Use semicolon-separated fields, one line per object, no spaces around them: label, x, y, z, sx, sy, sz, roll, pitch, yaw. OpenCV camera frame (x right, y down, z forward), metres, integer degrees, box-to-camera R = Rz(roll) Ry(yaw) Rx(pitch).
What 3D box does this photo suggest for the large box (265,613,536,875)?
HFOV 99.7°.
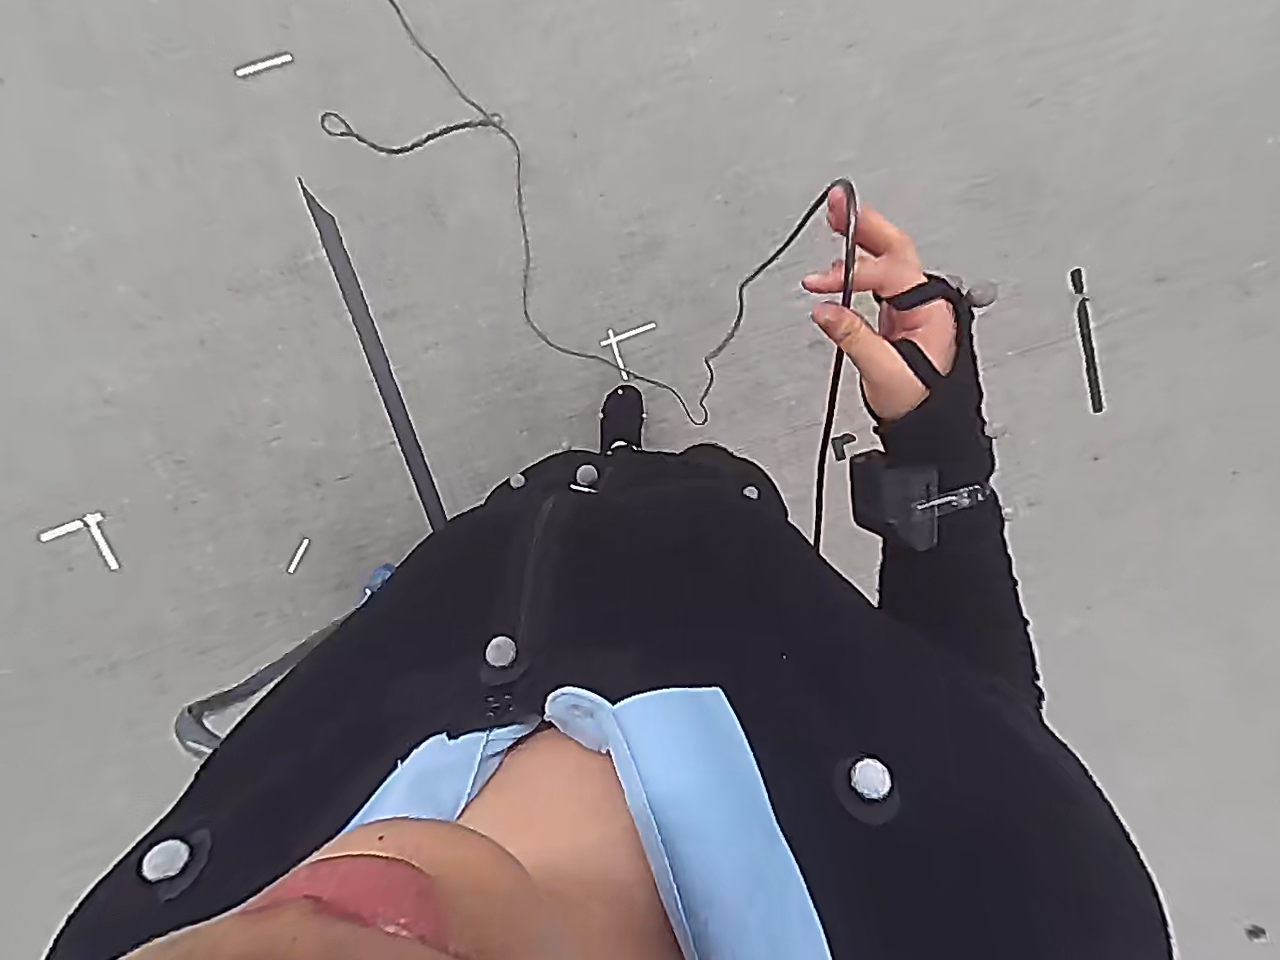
large box;-0.496;0.561;1.208;0.408;0.320;0.320;28;94;-5
